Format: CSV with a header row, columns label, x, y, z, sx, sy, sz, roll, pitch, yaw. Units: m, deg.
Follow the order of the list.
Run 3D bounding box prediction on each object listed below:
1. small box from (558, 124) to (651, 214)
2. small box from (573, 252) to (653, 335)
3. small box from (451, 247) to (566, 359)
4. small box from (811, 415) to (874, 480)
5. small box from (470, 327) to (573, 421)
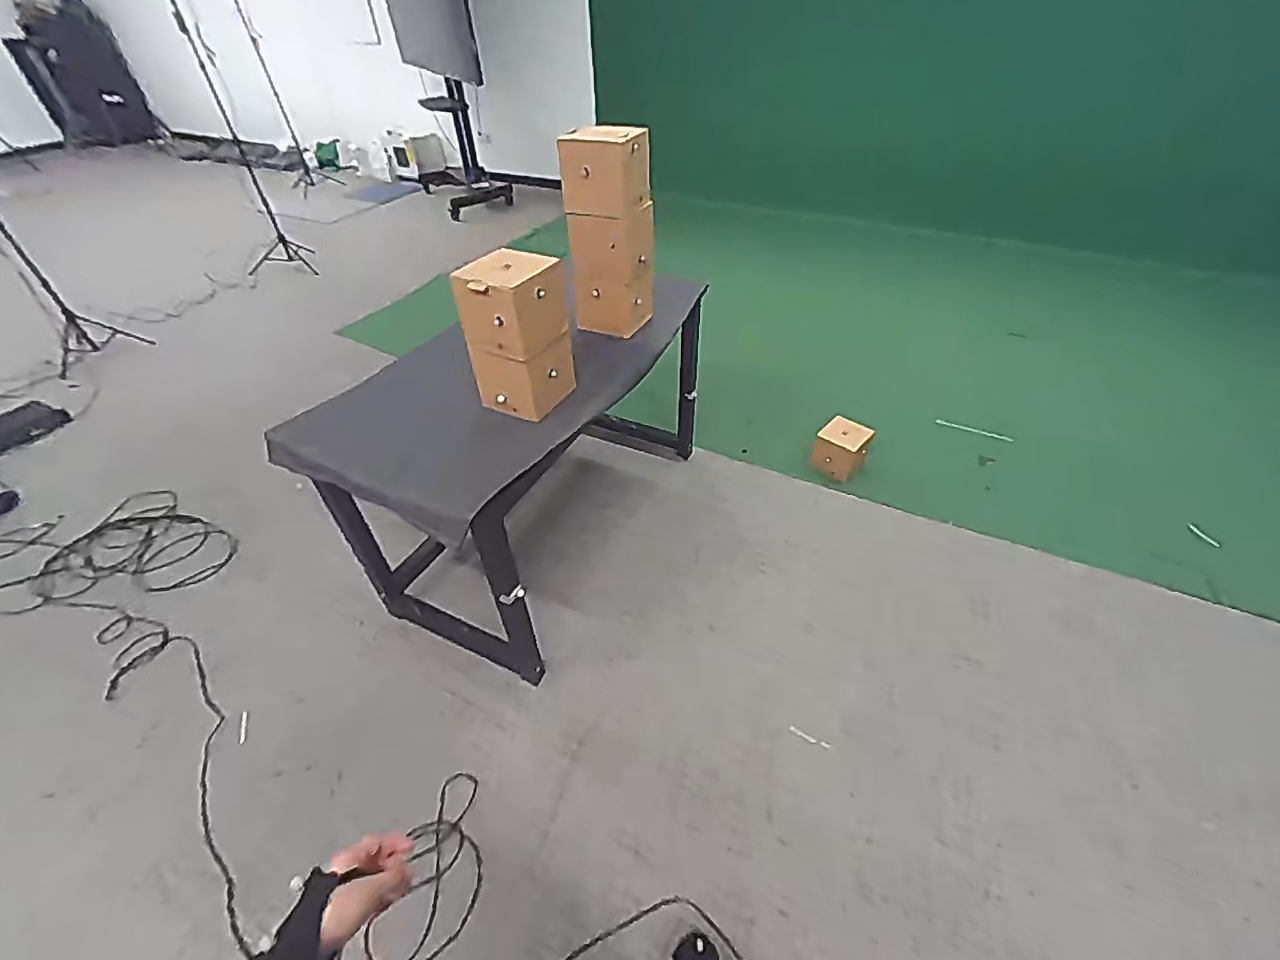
label,x,y,z,sx,sy,sz,roll,pitch,yaw
small box,-0.082,-0.783,1.362,0.179,0.176,0.168,15,46,19
small box,-0.072,-0.544,1.587,0.179,0.176,0.168,18,46,21
small box,-0.277,-0.387,1.185,0.168,0.176,0.179,20,46,21
small box,0.815,-0.131,2.192,0.168,0.176,0.179,33,53,30
small box,-0.274,-0.271,1.298,0.168,0.176,0.179,19,47,21
